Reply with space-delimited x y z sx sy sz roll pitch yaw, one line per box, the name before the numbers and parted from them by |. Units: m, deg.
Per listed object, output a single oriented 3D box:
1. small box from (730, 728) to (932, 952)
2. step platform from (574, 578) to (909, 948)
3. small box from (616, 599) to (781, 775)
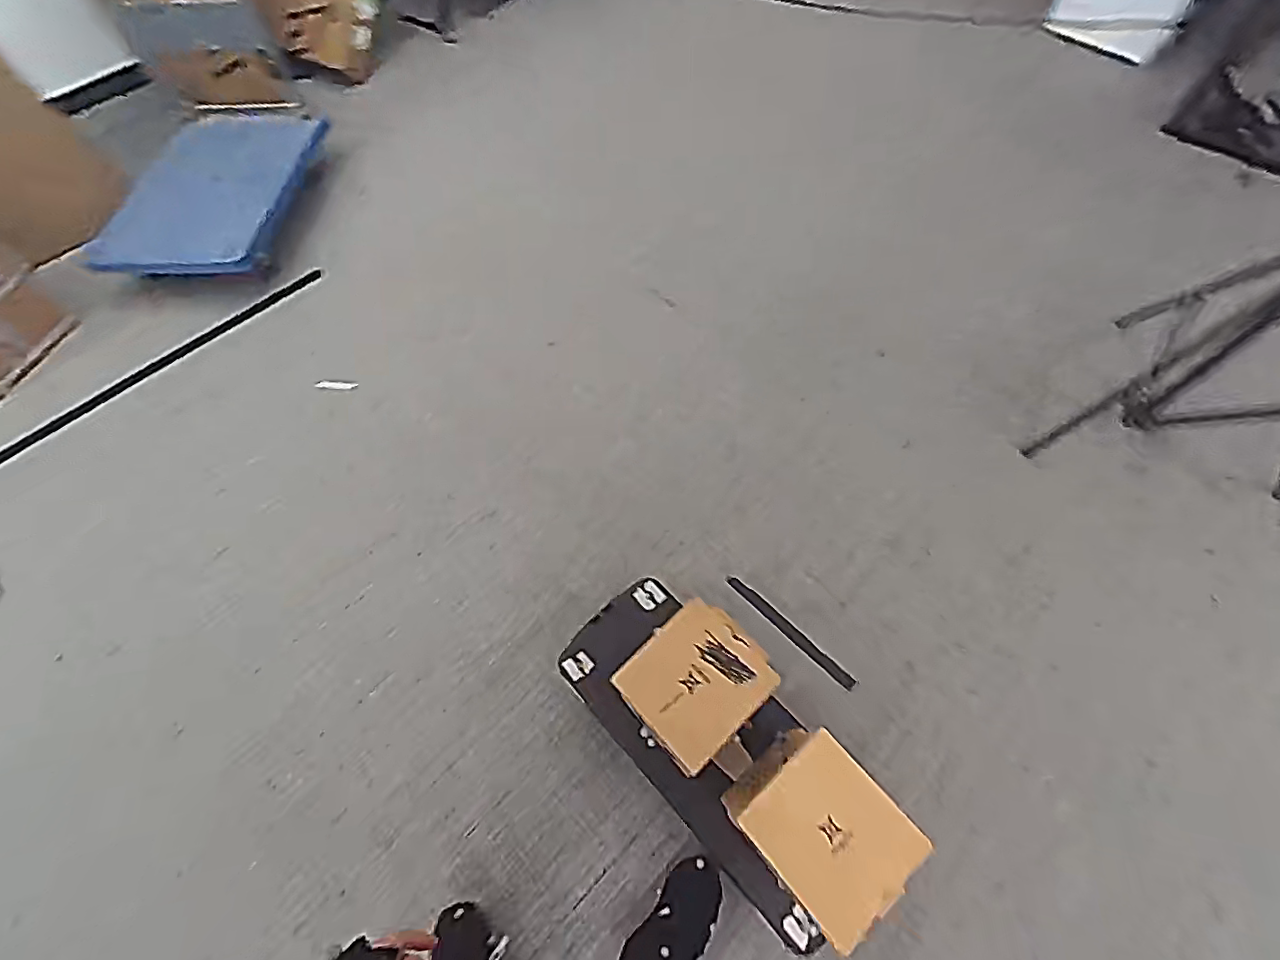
small box | 0.241 0.470 0.733 0.168 0.176 0.179 -38 66 -16
step platform | 0.172 0.522 1.093 0.286 0.204 0.684 -41 66 -17
small box | 0.084 0.317 0.825 0.179 0.176 0.168 -40 66 -16
